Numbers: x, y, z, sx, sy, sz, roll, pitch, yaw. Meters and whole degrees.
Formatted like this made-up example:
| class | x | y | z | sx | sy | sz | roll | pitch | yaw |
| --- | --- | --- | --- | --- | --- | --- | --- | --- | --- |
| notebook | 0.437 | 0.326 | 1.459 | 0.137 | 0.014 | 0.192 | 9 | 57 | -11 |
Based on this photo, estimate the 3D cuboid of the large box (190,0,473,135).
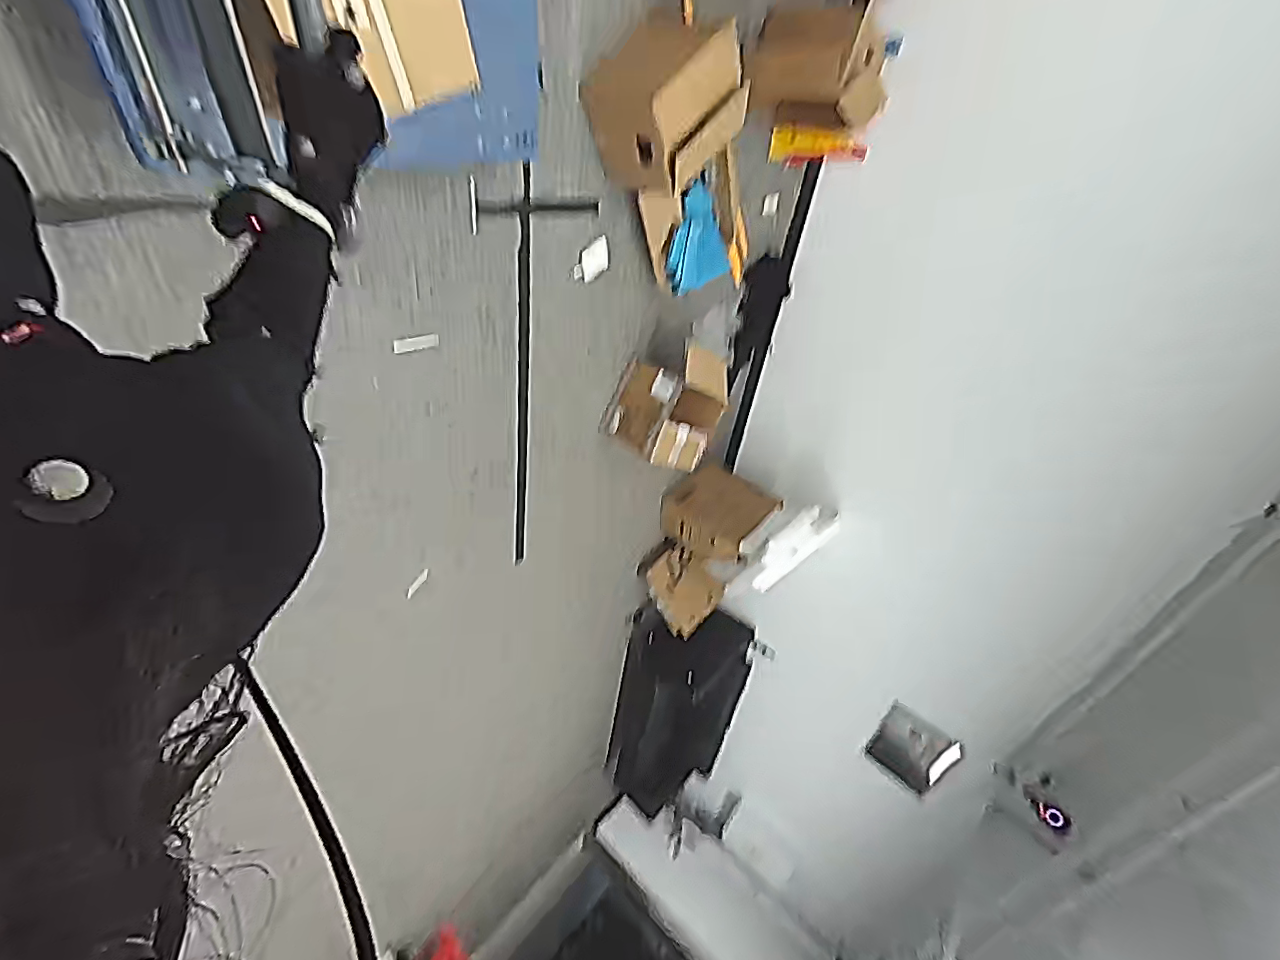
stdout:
| class | x | y | z | sx | sy | sz | roll | pitch | yaw |
| --- | --- | --- | --- | --- | --- | --- | --- | --- | --- |
| large box | -0.529 | -0.838 | 0.849 | 0.320 | 0.320 | 0.408 | -41 | 149 | -28 |
